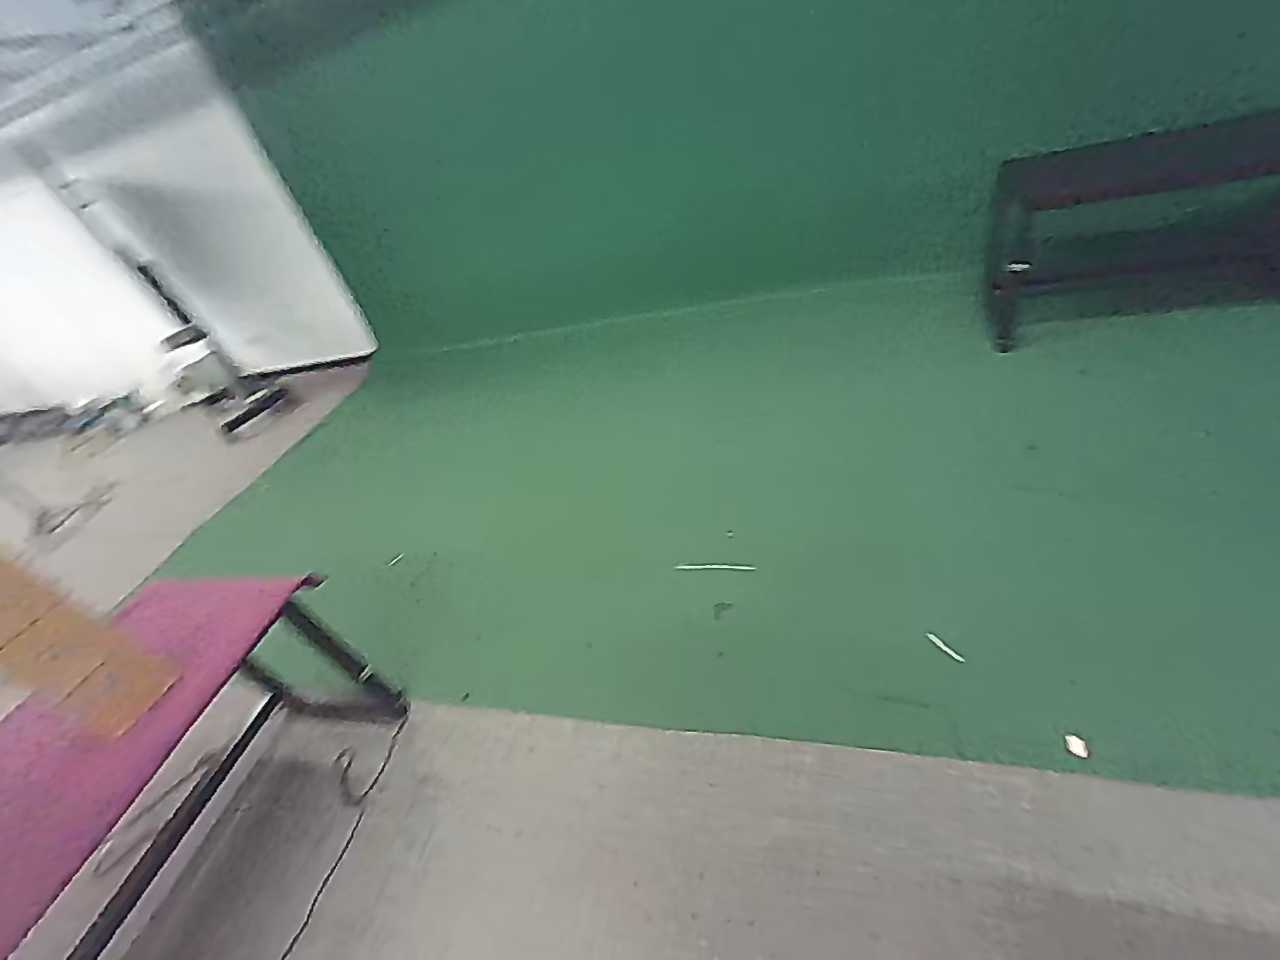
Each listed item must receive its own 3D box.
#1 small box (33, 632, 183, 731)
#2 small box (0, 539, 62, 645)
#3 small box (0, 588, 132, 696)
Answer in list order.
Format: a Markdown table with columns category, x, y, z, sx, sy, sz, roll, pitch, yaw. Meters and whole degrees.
| category | x | y | z | sx | sy | sz | roll | pitch | yaw |
| --- | --- | --- | --- | --- | --- | --- | --- | --- | --- |
| small box | -1.284 | 0.479 | 1.316 | 0.168 | 0.176 | 0.179 | 5 | 44 | 27 |
| small box | -1.369 | 0.234 | 1.114 | 0.168 | 0.176 | 0.179 | 1 | 43 | 24 |
| small box | -1.325 | 0.358 | 1.214 | 0.168 | 0.176 | 0.179 | 3 | 44 | 24 |
